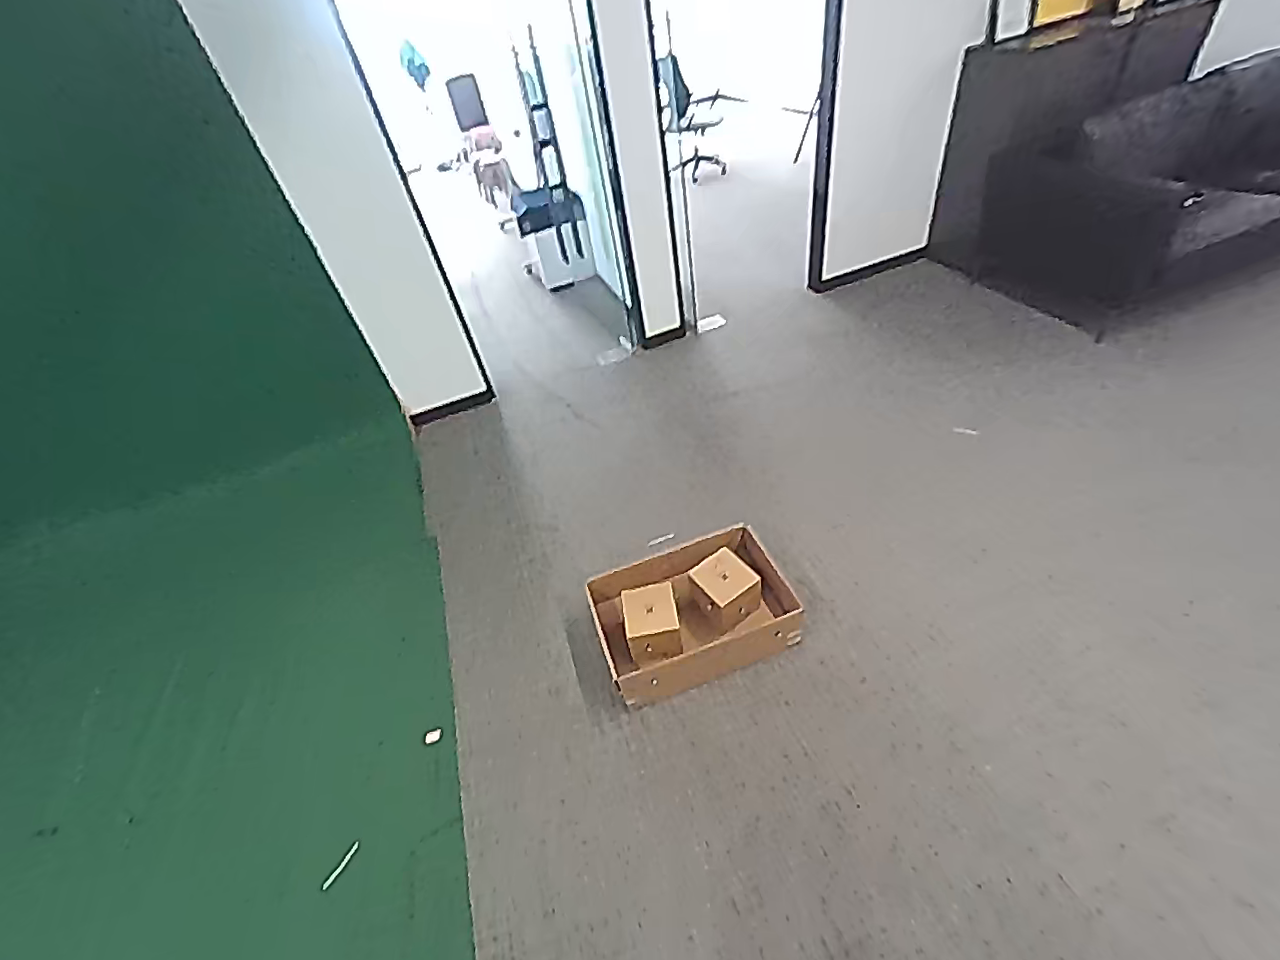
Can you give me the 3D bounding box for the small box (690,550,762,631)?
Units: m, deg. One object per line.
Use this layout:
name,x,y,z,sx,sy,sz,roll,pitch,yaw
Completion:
small box,0.287,0.371,1.779,0.168,0.176,0.179,-30,45,-19

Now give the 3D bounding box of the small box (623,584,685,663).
small box,0.047,0.466,1.732,0.168,0.176,0.179,-11,41,0
